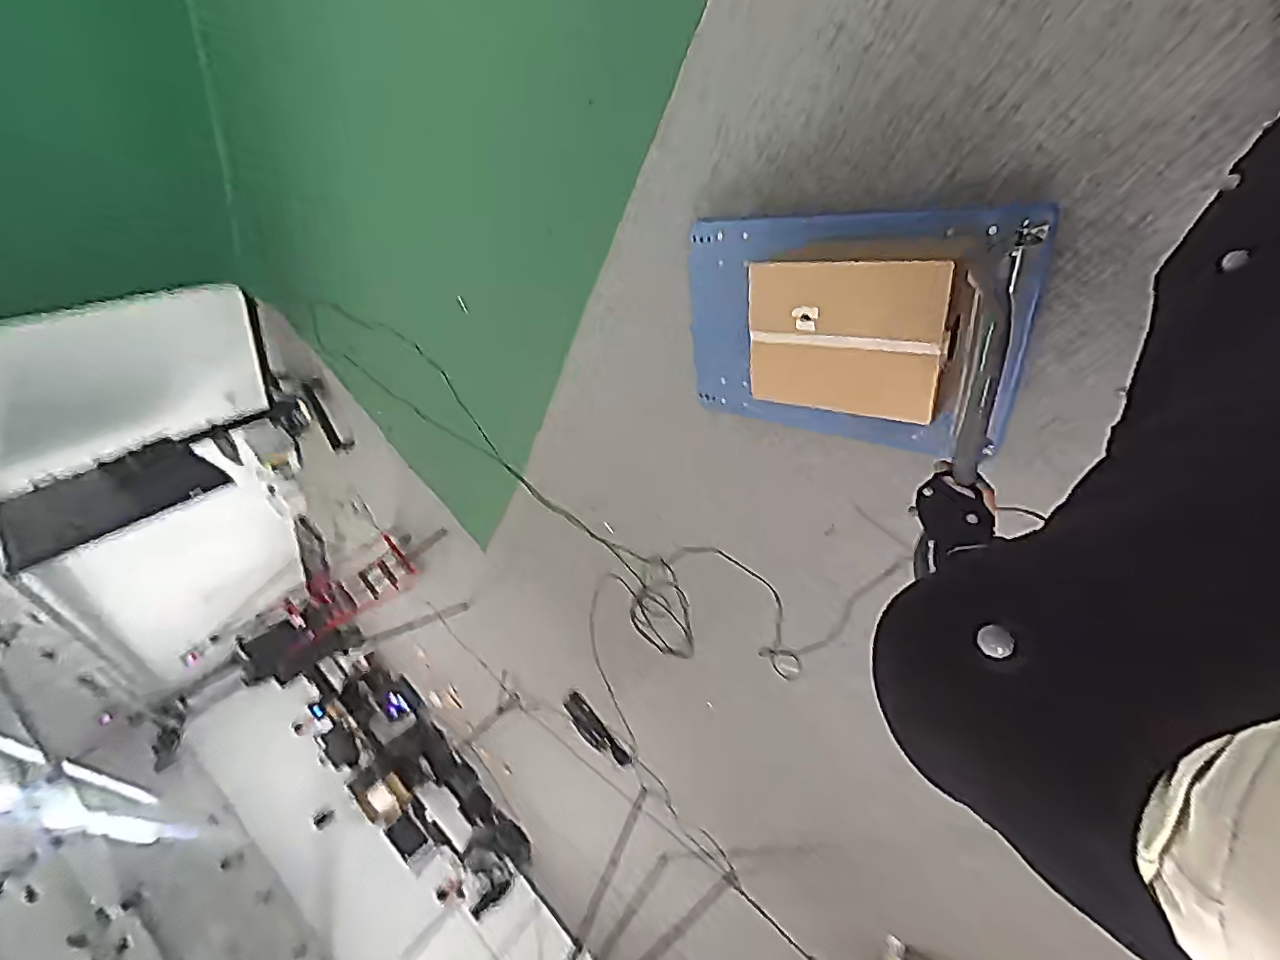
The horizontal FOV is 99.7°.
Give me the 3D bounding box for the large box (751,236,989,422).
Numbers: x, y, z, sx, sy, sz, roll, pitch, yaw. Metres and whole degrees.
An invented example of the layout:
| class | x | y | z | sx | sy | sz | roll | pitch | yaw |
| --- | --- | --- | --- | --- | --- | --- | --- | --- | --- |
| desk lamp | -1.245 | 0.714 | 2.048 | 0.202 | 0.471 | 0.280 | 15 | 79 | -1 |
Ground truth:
| class | x | y | z | sx | sy | sz | roll | pitch | yaw |
| --- | --- | --- | --- | --- | --- | --- | --- | --- | --- |
| large box | 0.503 | -0.353 | 1.215 | 0.408 | 0.320 | 0.320 | 17 | 126 | 36 |
